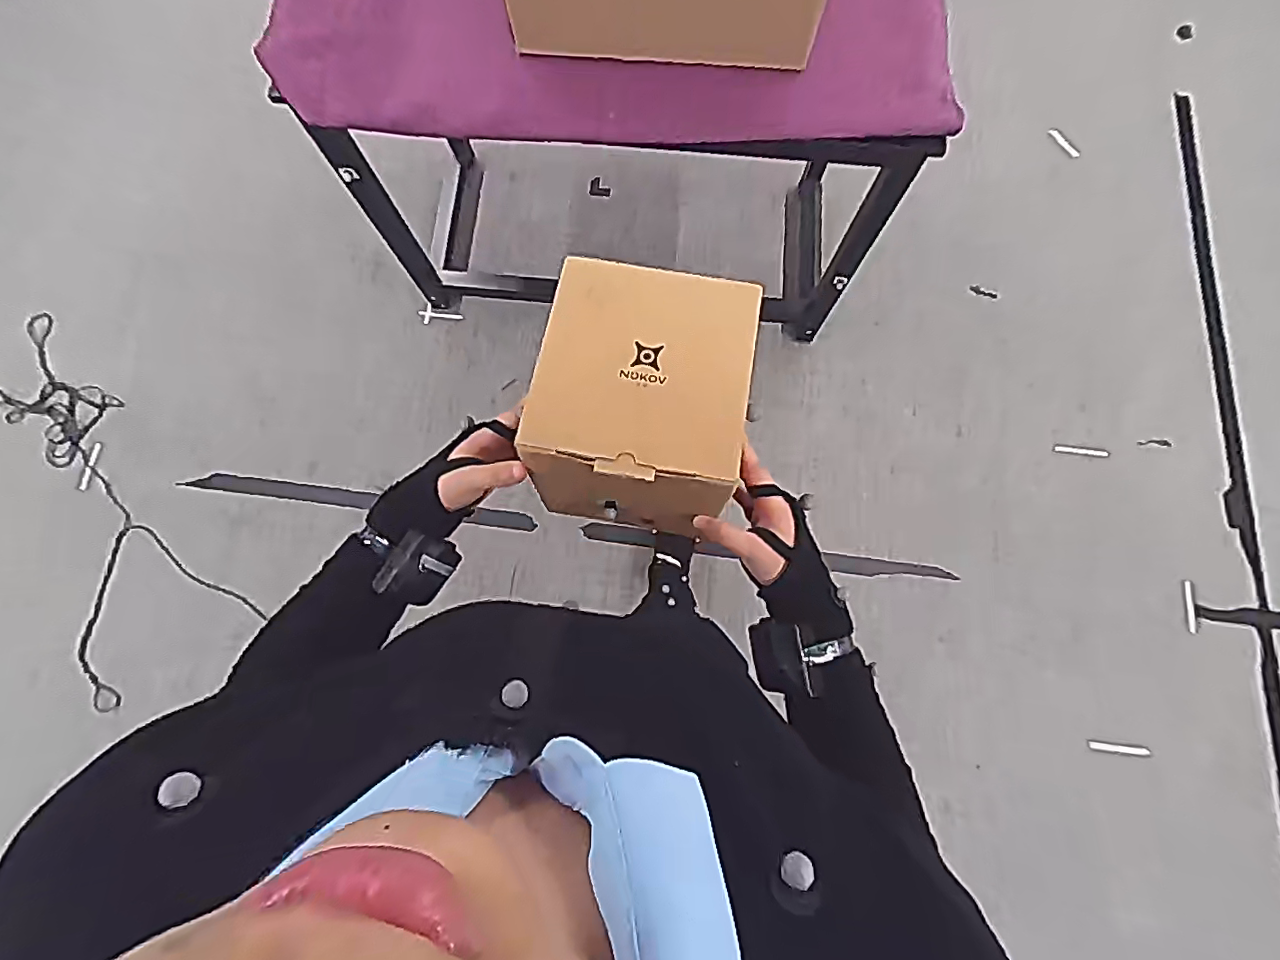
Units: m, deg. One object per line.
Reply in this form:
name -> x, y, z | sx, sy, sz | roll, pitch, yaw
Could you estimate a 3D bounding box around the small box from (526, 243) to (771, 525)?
small box -> 0.009, -0.073, 0.486 | 0.168, 0.176, 0.179 | 9, 72, 2
